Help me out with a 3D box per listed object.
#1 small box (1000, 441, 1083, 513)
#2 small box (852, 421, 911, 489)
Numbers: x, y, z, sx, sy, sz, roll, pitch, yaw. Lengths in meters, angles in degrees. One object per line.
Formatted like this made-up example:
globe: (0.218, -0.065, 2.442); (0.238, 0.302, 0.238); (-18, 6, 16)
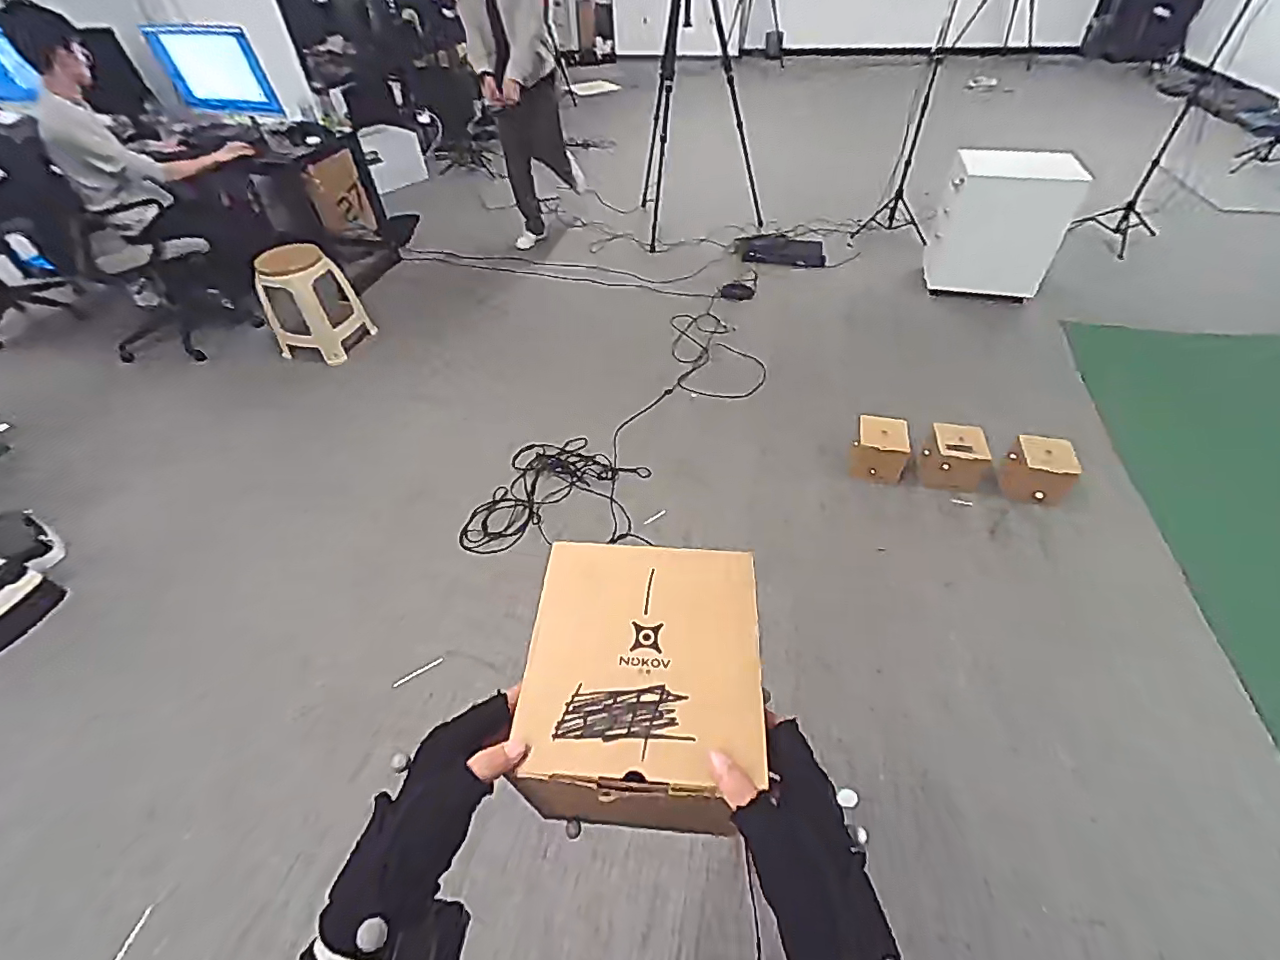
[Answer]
small box: (1.404, -0.011, 1.907); (0.168, 0.176, 0.179); (9, 48, 12)
small box: (0.891, -0.093, 2.010); (0.168, 0.176, 0.179); (9, 47, 12)
